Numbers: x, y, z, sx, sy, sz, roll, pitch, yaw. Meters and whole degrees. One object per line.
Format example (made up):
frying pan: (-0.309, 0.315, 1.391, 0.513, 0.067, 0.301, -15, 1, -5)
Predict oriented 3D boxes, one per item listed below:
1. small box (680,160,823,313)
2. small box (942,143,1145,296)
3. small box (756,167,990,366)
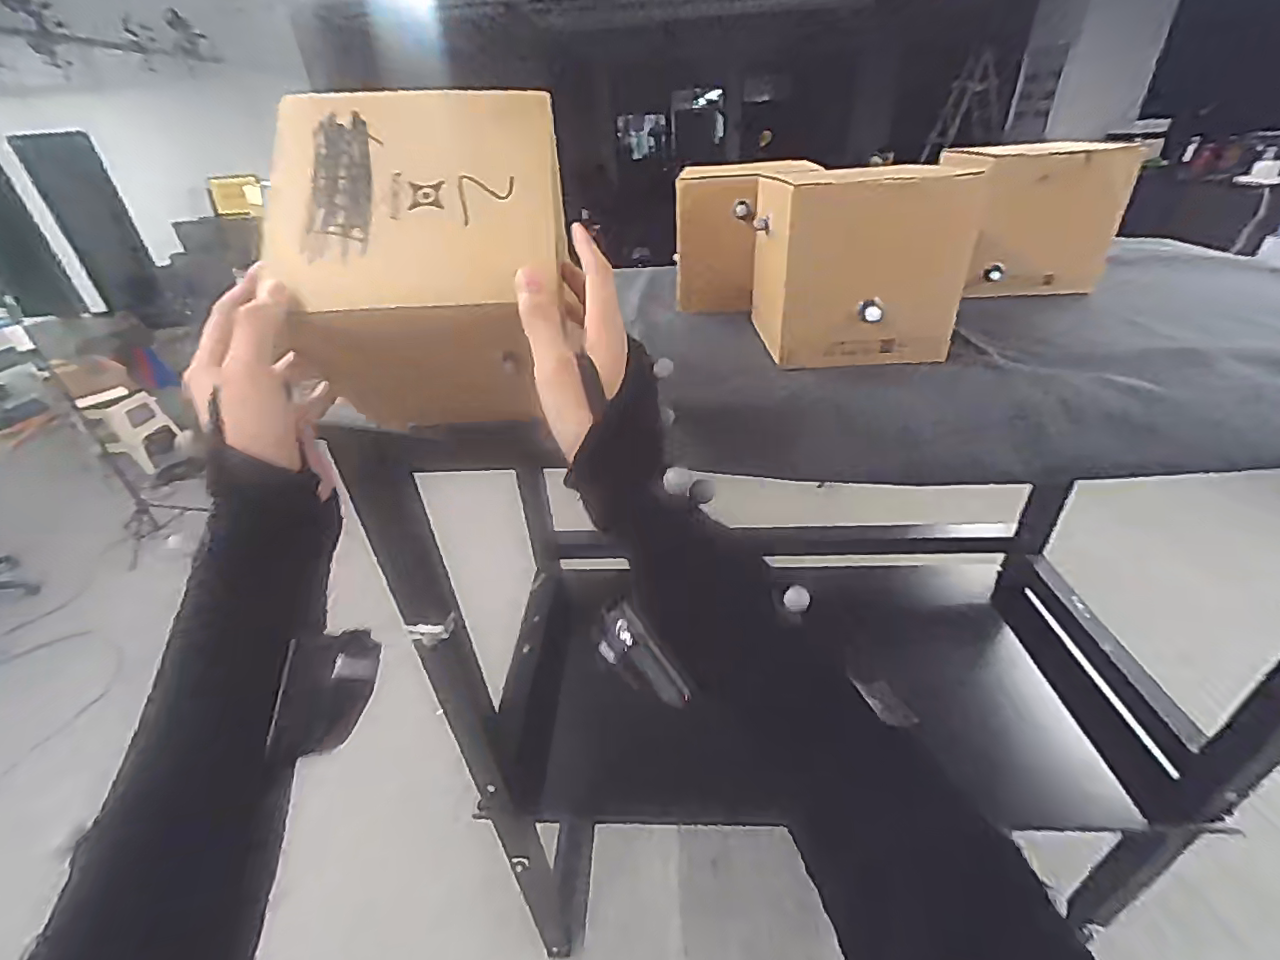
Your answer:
small box: (0.149, -0.337, 0.752, 0.179, 0.176, 0.168, 1, 34, 8)
small box: (0.516, -0.355, 0.741, 0.168, 0.176, 0.179, 1, 33, 6)
small box: (0.220, -0.228, 0.571, 0.168, 0.176, 0.179, -2, 32, 3)
